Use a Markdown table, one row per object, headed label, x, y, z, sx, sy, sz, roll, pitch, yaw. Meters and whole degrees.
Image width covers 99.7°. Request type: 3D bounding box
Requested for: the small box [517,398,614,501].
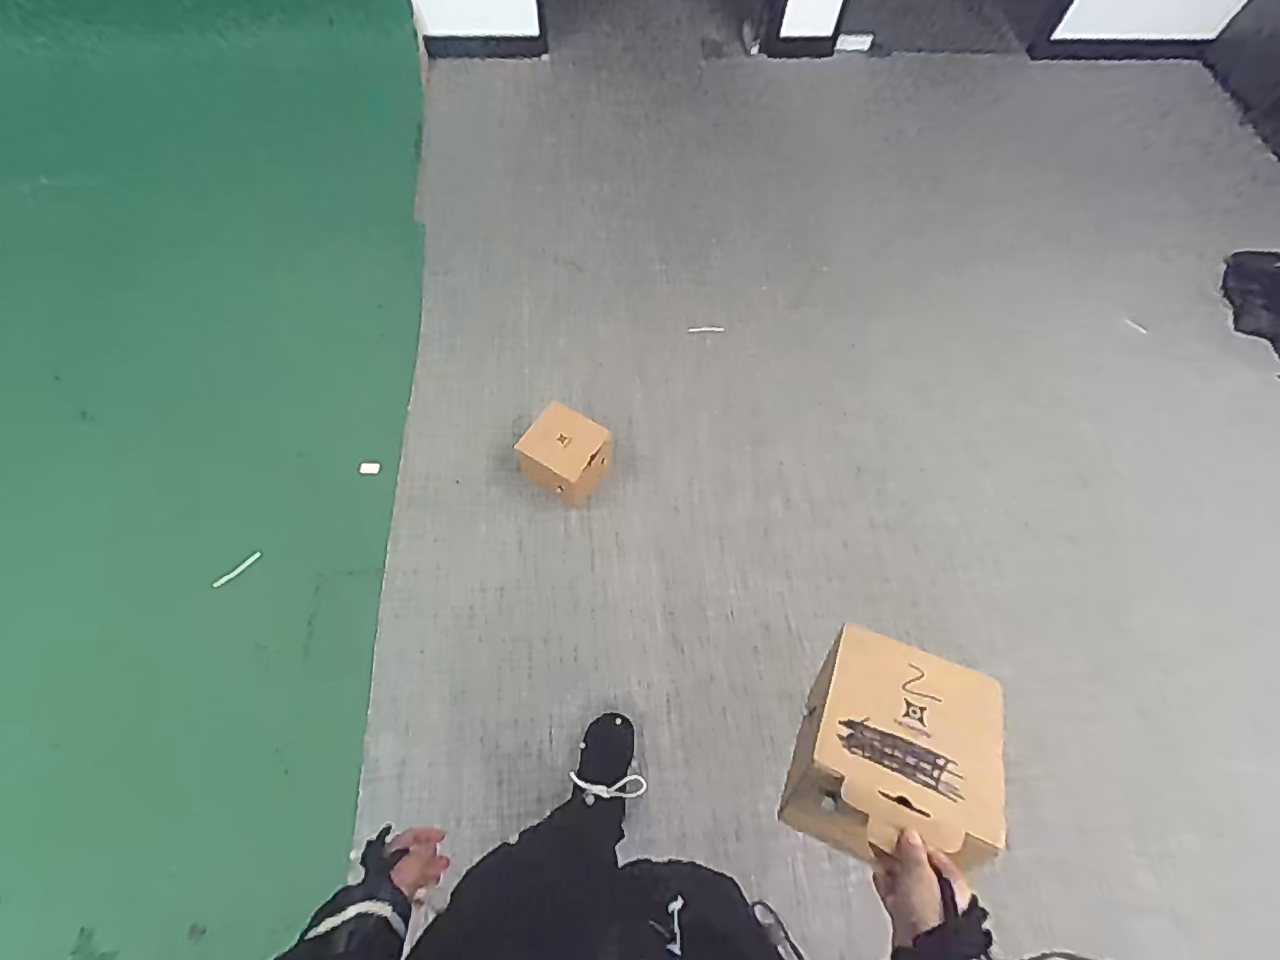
| label | x | y | z | sx | sy | sz | roll | pitch | yaw |
| --- | --- | --- | --- | --- | --- | --- | --- | --- | --- |
| small box | -0.180 | -0.068 | 1.362 | 0.179 | 0.176 | 0.168 | 29 | 66 | 11 |
